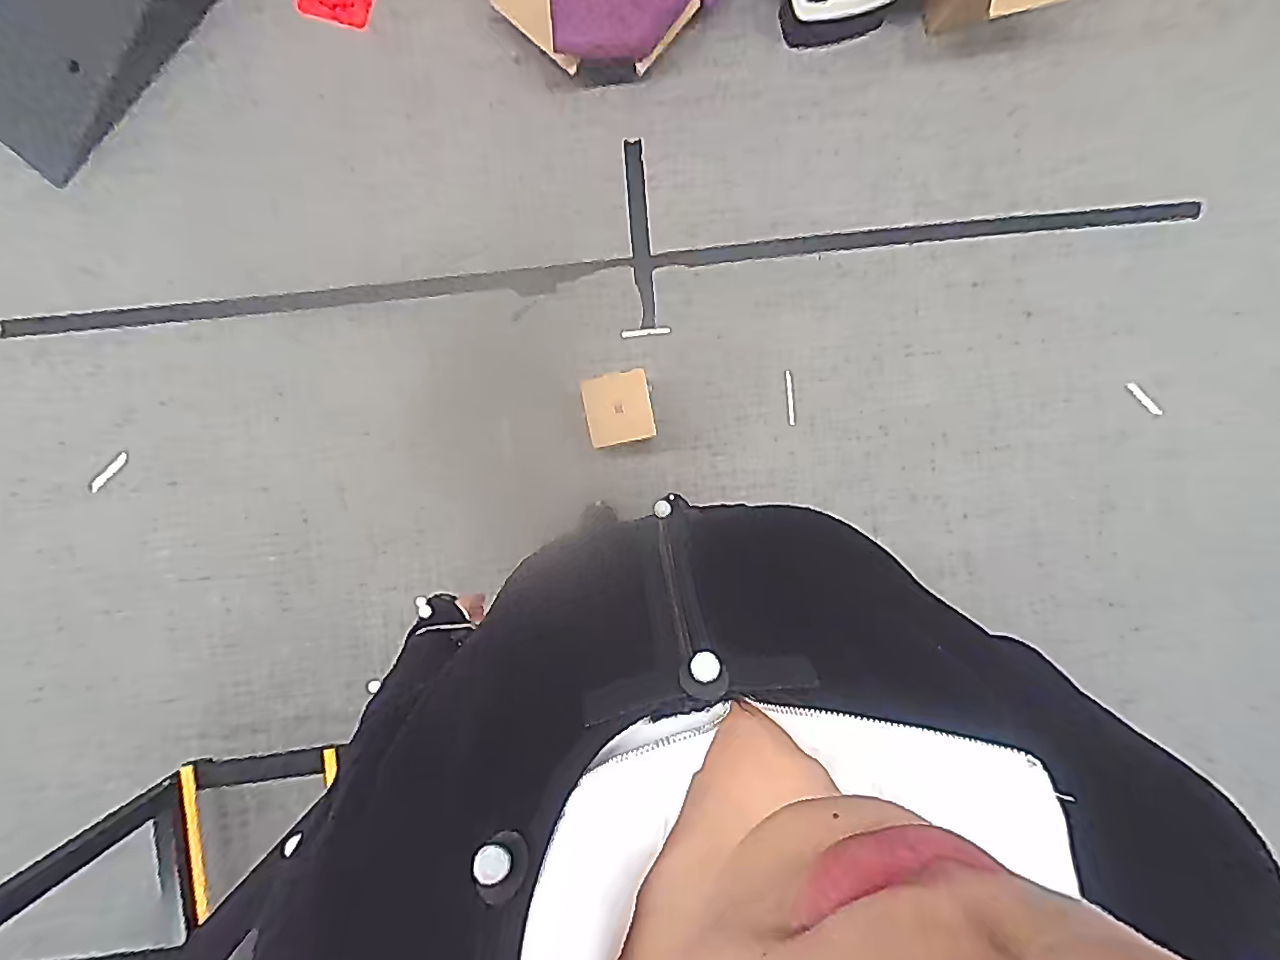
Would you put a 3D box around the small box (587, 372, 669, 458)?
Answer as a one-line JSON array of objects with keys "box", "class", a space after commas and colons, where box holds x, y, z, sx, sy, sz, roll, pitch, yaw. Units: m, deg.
[{"box": [-0.031, -0.154, 1.344, 0.168, 0.176, 0.179, -13, 93, 0], "class": "small box"}]
